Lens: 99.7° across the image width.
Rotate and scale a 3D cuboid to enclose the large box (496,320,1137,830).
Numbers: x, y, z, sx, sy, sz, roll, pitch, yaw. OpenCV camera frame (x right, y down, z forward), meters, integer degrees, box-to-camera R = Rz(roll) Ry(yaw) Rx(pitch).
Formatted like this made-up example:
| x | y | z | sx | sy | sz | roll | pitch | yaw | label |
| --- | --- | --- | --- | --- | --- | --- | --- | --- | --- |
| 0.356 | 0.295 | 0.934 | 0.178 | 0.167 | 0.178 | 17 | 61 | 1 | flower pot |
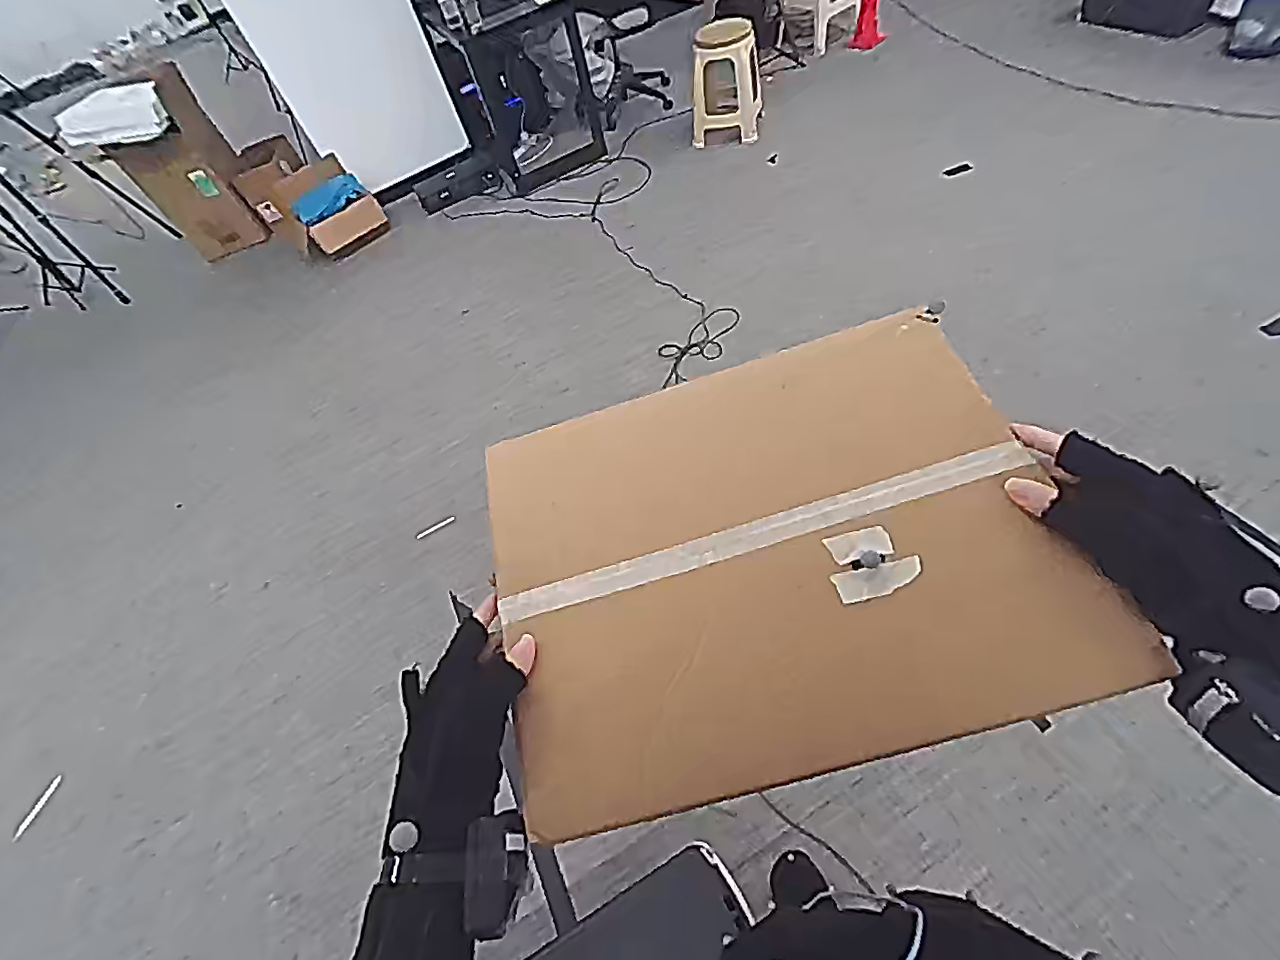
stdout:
| x | y | z | sx | sy | sz | roll | pitch | yaw | label |
| --- | --- | --- | --- | --- | --- | --- | --- | --- | --- |
| 0.117 | 0.112 | 0.548 | 0.408 | 0.320 | 0.320 | -18 | 61 | 4 | large box |
